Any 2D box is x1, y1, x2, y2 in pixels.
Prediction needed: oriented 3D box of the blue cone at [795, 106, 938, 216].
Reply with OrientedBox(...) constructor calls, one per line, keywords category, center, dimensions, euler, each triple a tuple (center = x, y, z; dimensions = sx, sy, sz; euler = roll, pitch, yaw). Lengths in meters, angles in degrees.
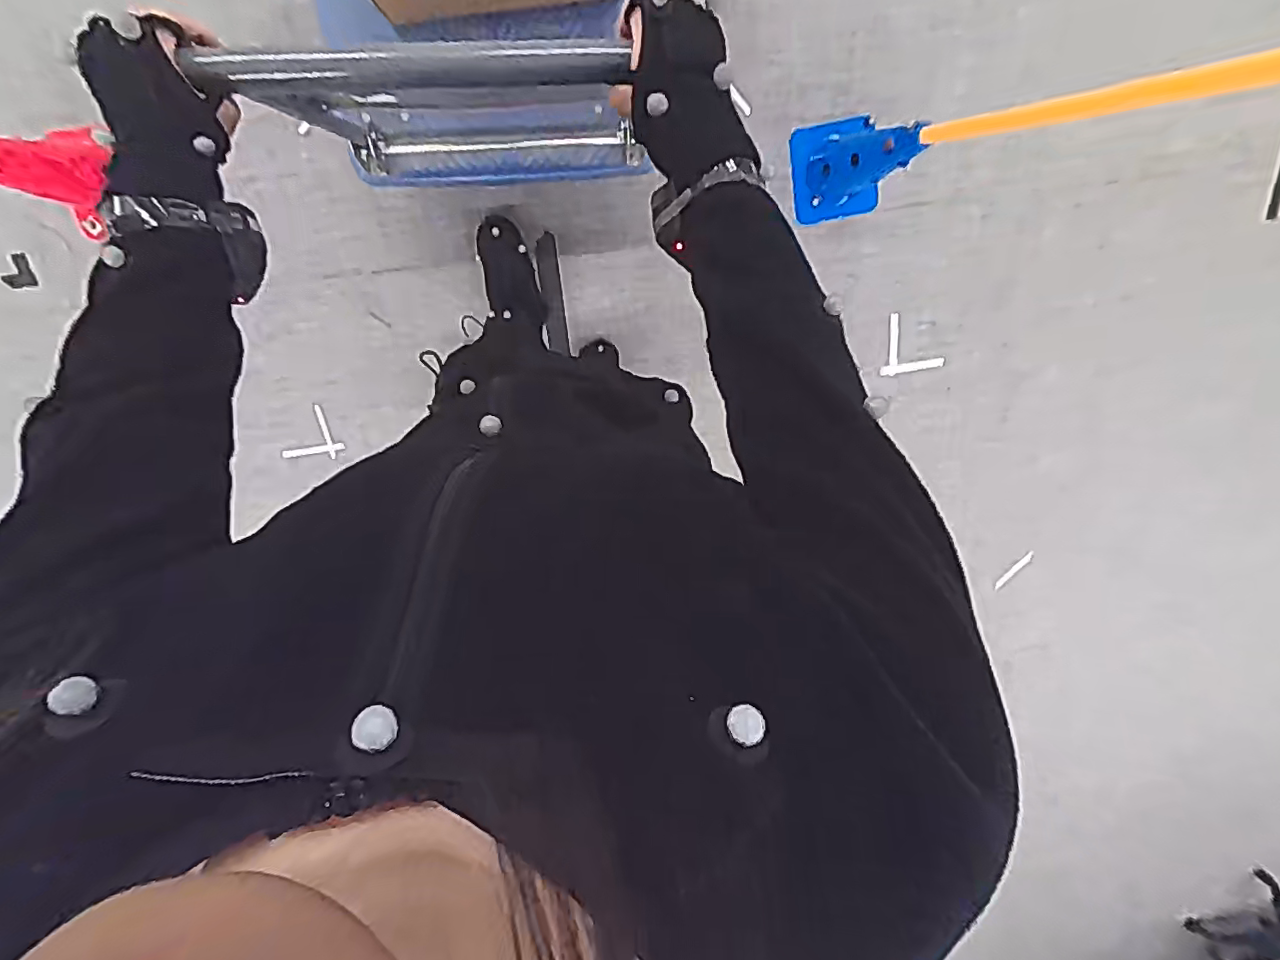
OrientedBox(category="blue cone", center=(0.468, -0.659, 1.081), dimensions=(0.193, 0.380, 0.192), euler=(-11, 111, -2))
